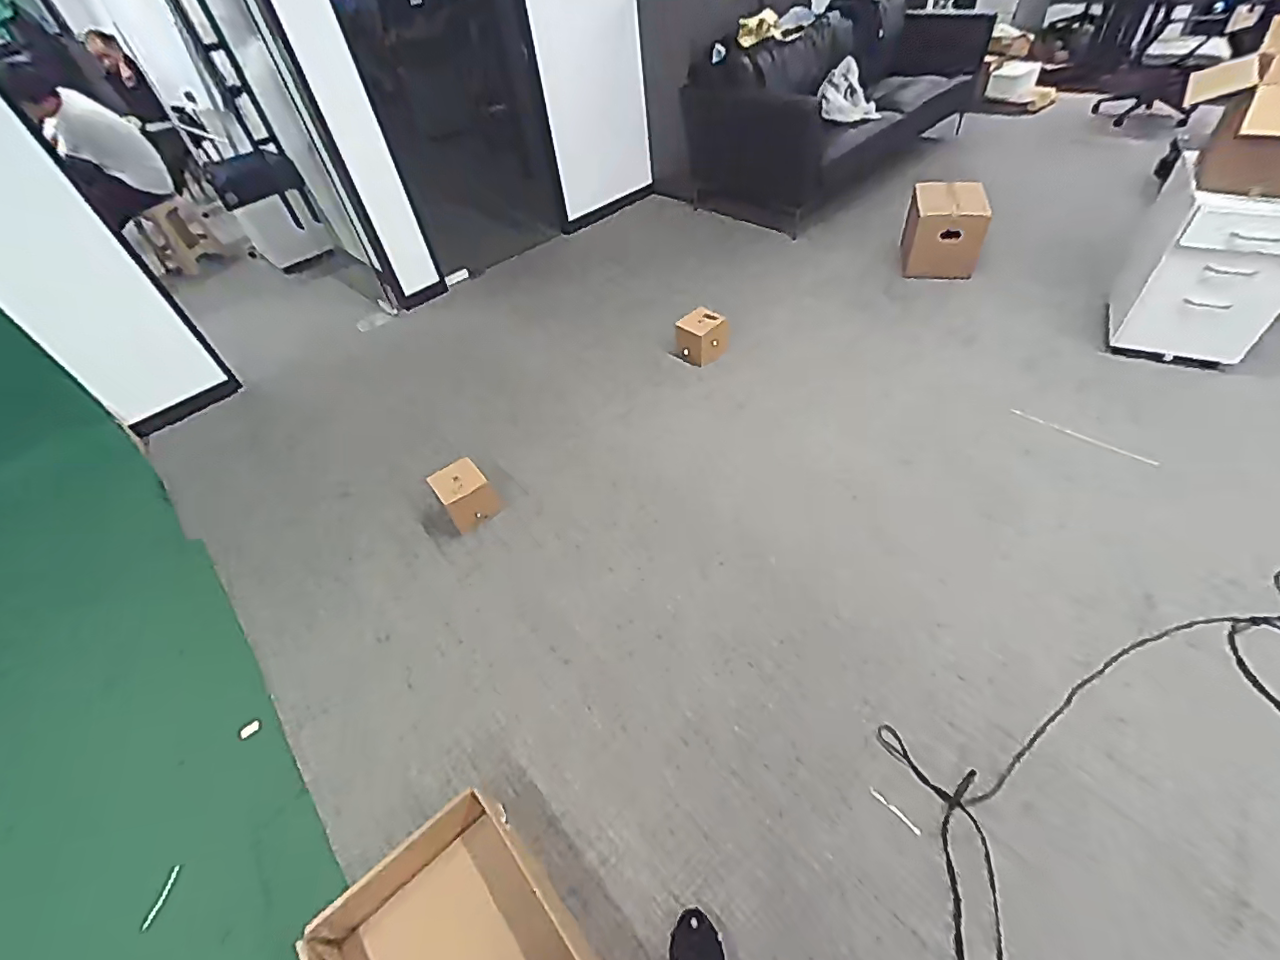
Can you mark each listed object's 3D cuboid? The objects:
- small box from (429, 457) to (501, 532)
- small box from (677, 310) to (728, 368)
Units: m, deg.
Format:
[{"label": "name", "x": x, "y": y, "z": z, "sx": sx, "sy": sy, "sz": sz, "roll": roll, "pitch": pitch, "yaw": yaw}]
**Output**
[{"label": "small box", "x": -0.627, "y": 0.056, "z": 1.948, "sx": 0.168, "sy": 0.176, "sz": 0.179, "roll": -33, "pitch": 51, "yaw": -21}, {"label": "small box", "x": 0.285, "y": -0.647, "z": 2.485, "sx": 0.179, "sy": 0.176, "sz": 0.168, "roll": -37, "pitch": 53, "yaw": -23}]
